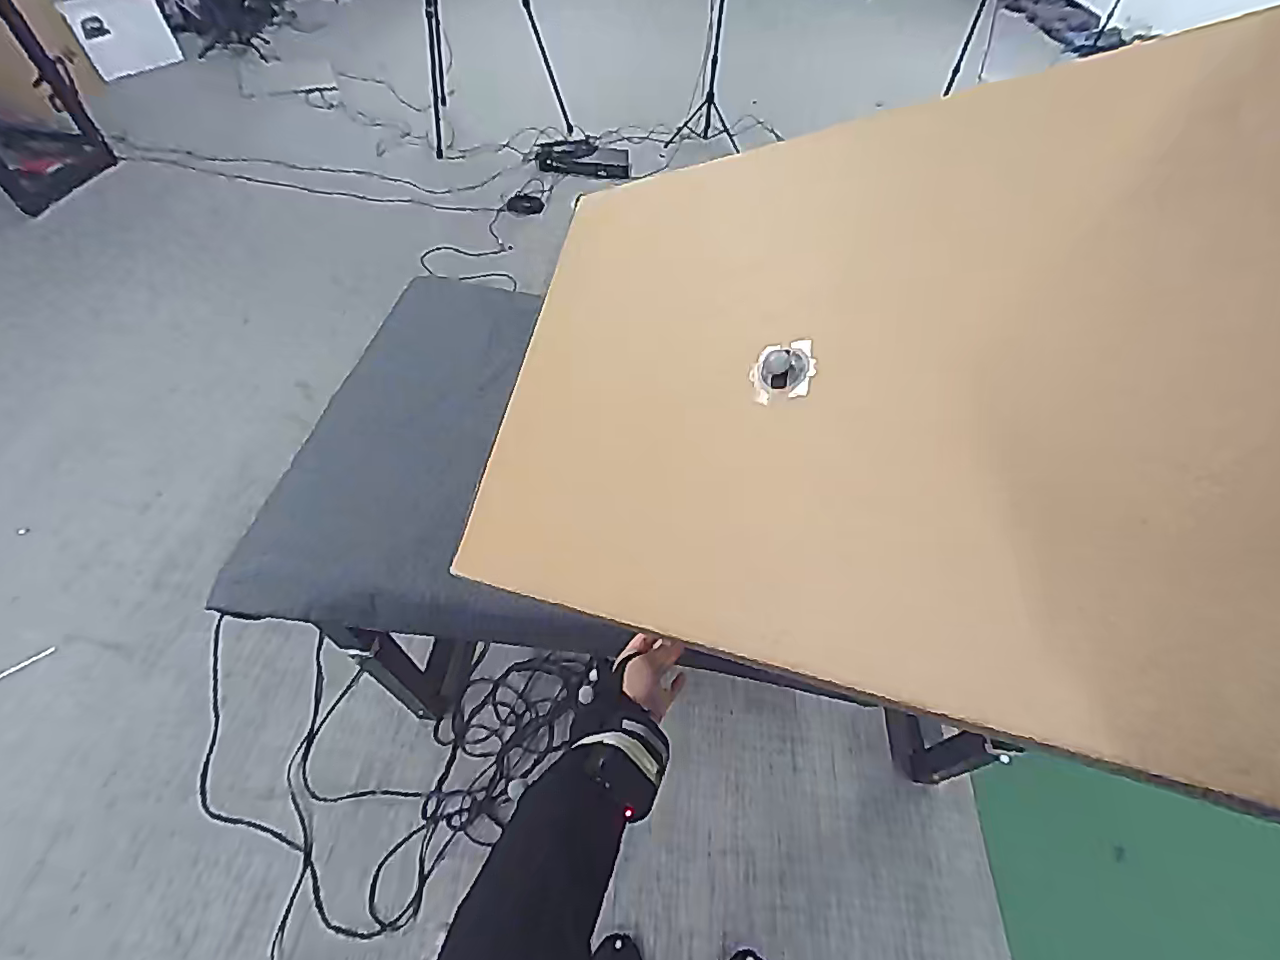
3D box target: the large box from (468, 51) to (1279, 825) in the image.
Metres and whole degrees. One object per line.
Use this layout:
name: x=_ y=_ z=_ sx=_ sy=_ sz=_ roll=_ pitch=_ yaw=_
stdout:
large box: x=0.154 y=-0.001 z=0.409 sx=0.408 sy=0.320 sz=0.320 roll=4 pitch=71 yaw=33
